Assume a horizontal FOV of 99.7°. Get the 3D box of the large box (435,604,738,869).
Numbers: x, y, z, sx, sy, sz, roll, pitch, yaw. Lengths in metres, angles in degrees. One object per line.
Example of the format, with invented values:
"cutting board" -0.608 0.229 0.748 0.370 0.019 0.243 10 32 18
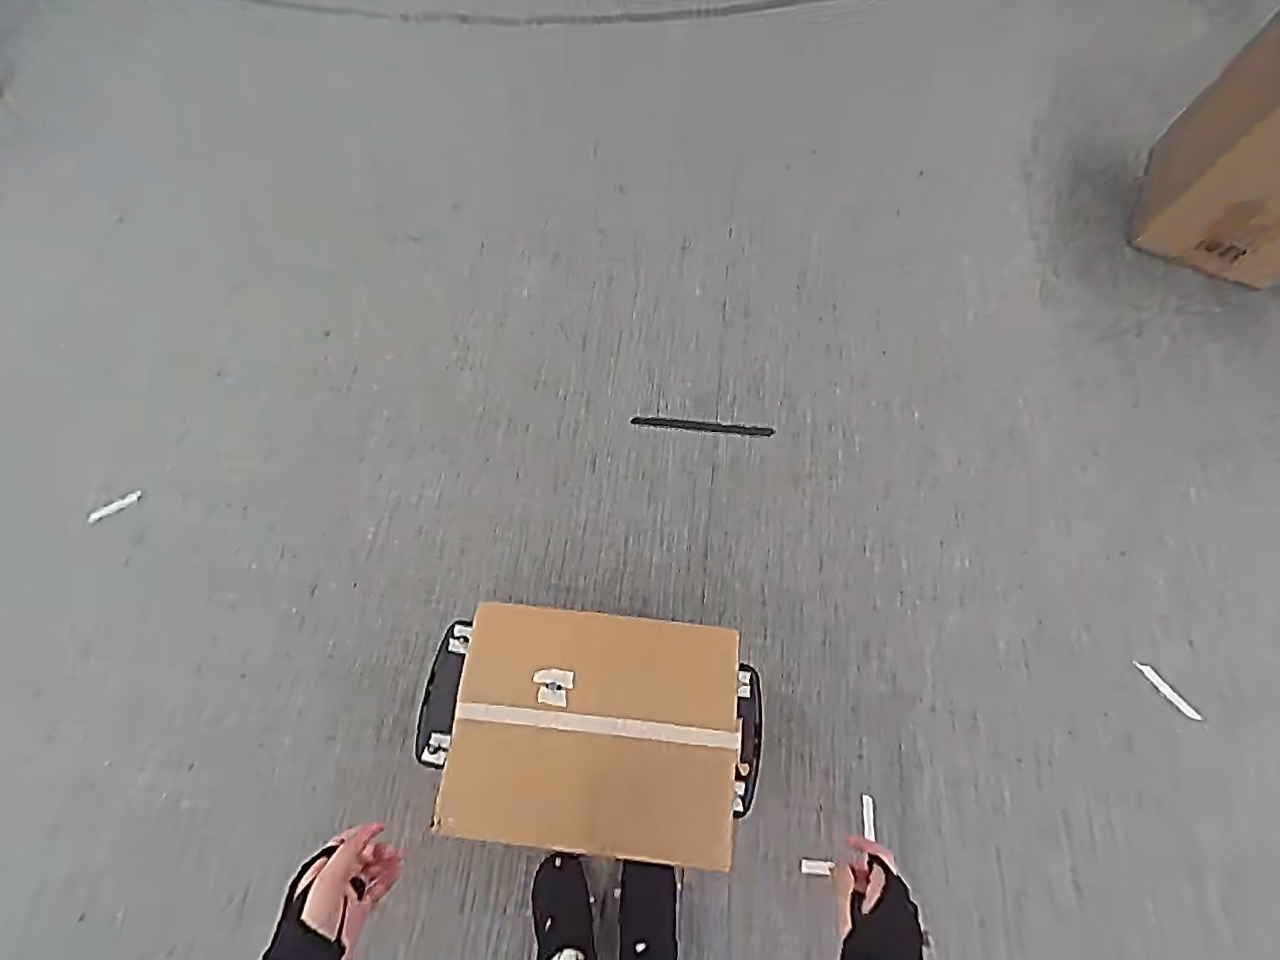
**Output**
"large box" -0.060 0.401 0.905 0.408 0.320 0.320 6 68 3
